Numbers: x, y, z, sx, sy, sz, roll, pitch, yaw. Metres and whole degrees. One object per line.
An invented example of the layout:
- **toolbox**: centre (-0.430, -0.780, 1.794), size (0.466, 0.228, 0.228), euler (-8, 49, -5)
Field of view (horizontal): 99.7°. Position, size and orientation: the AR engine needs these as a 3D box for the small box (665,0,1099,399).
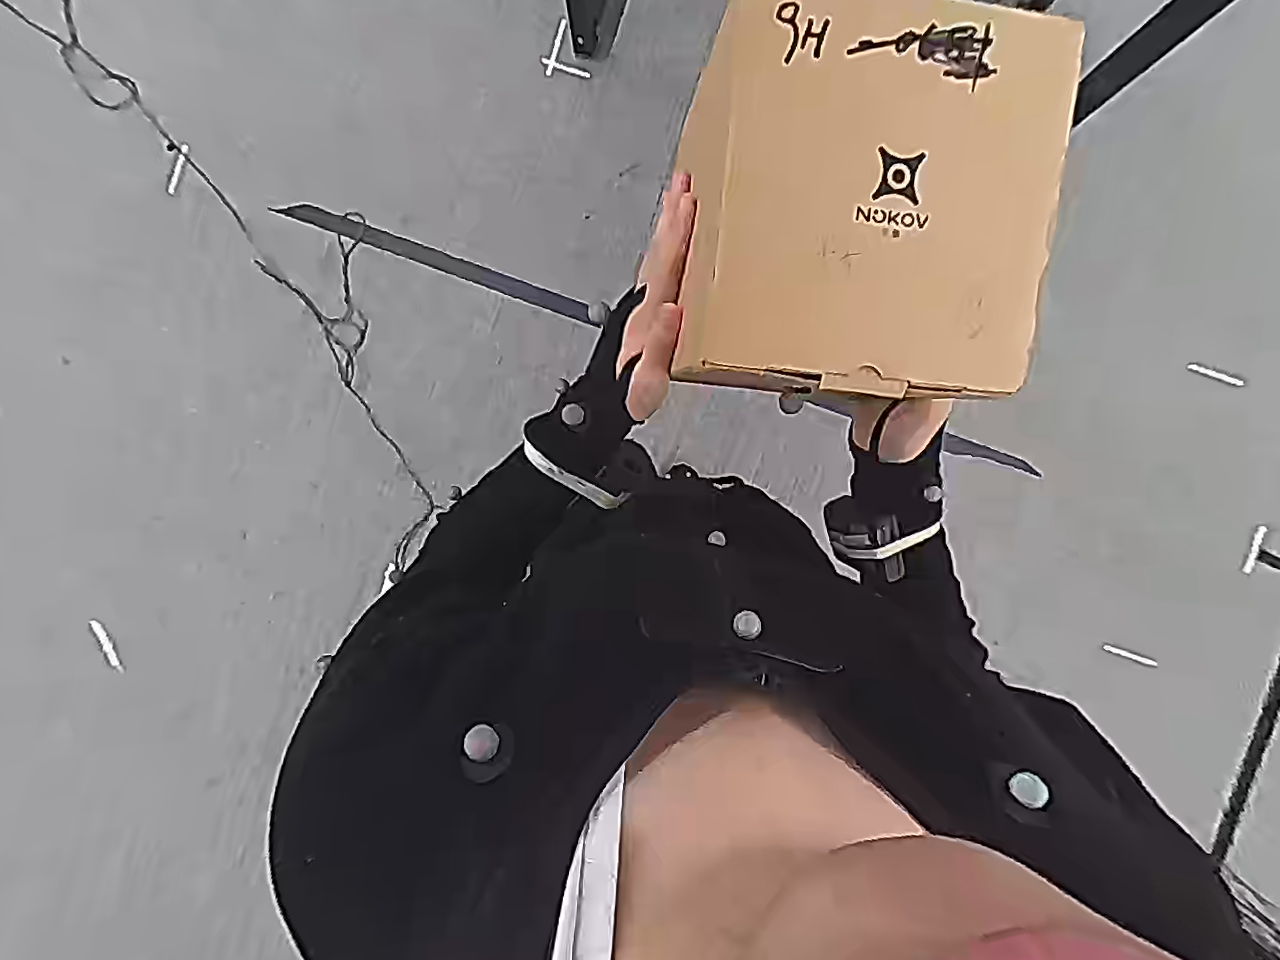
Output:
- **small box**: centre (0.112, -0.145, 0.327), size (0.168, 0.176, 0.179), euler (5, 98, -7)
